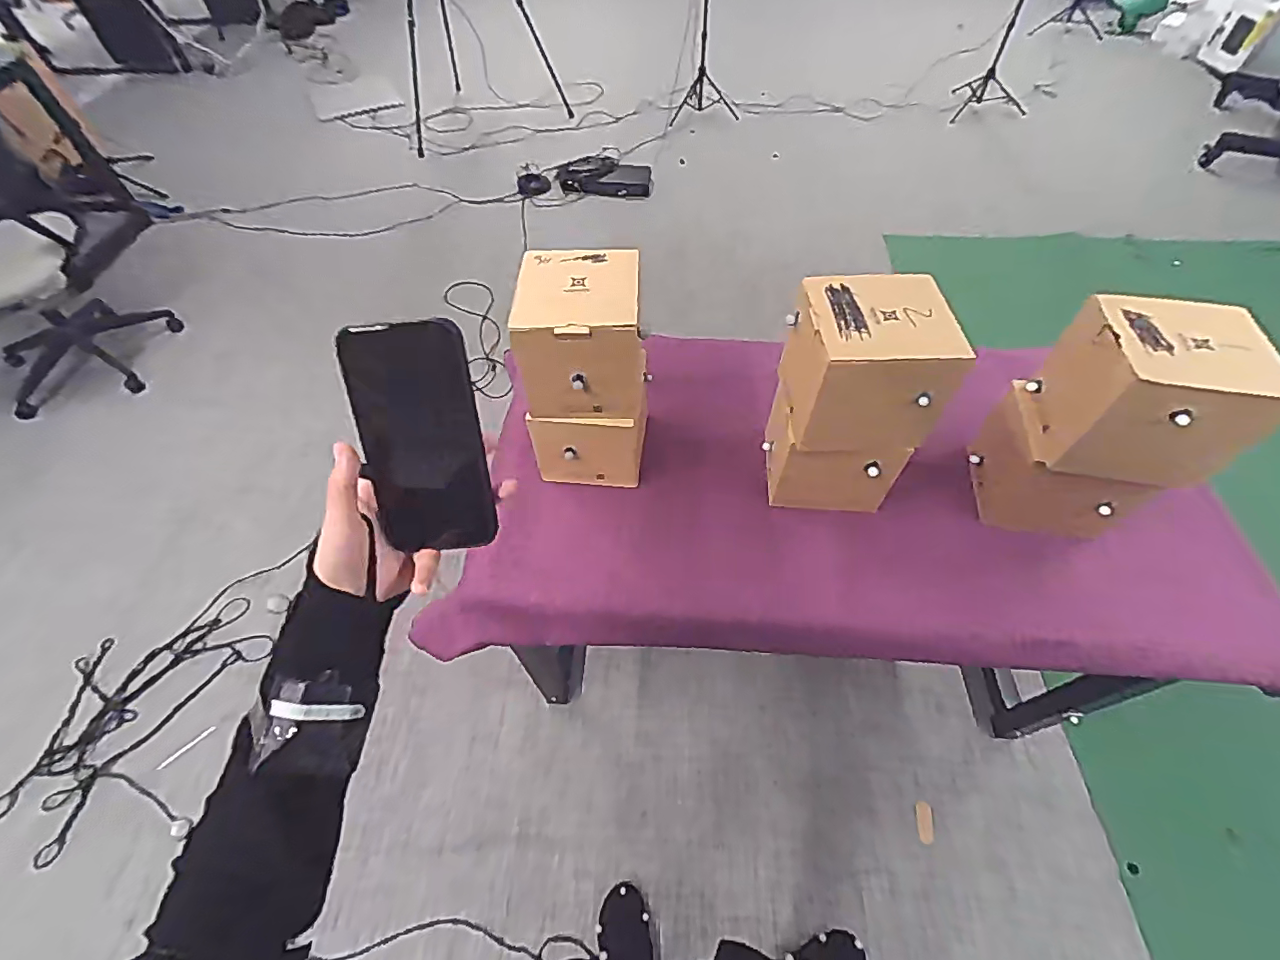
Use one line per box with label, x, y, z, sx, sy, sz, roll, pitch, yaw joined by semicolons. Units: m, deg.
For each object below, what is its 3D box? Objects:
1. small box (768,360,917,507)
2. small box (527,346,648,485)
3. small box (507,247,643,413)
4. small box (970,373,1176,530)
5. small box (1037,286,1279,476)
small box;0.310;-0.070;0.868;0.179;0.176;0.168;3;54;5
small box;-0.077;-0.108;0.912;0.168;0.176;0.179;4;54;5
small box;-0.081;-0.211;0.784;0.168;0.176;0.179;0;55;2
small box;0.647;-0.039;0.833;0.179;0.176;0.168;8;54;8
small box;0.649;-0.123;0.692;0.179;0.176;0.168;8;55;7
